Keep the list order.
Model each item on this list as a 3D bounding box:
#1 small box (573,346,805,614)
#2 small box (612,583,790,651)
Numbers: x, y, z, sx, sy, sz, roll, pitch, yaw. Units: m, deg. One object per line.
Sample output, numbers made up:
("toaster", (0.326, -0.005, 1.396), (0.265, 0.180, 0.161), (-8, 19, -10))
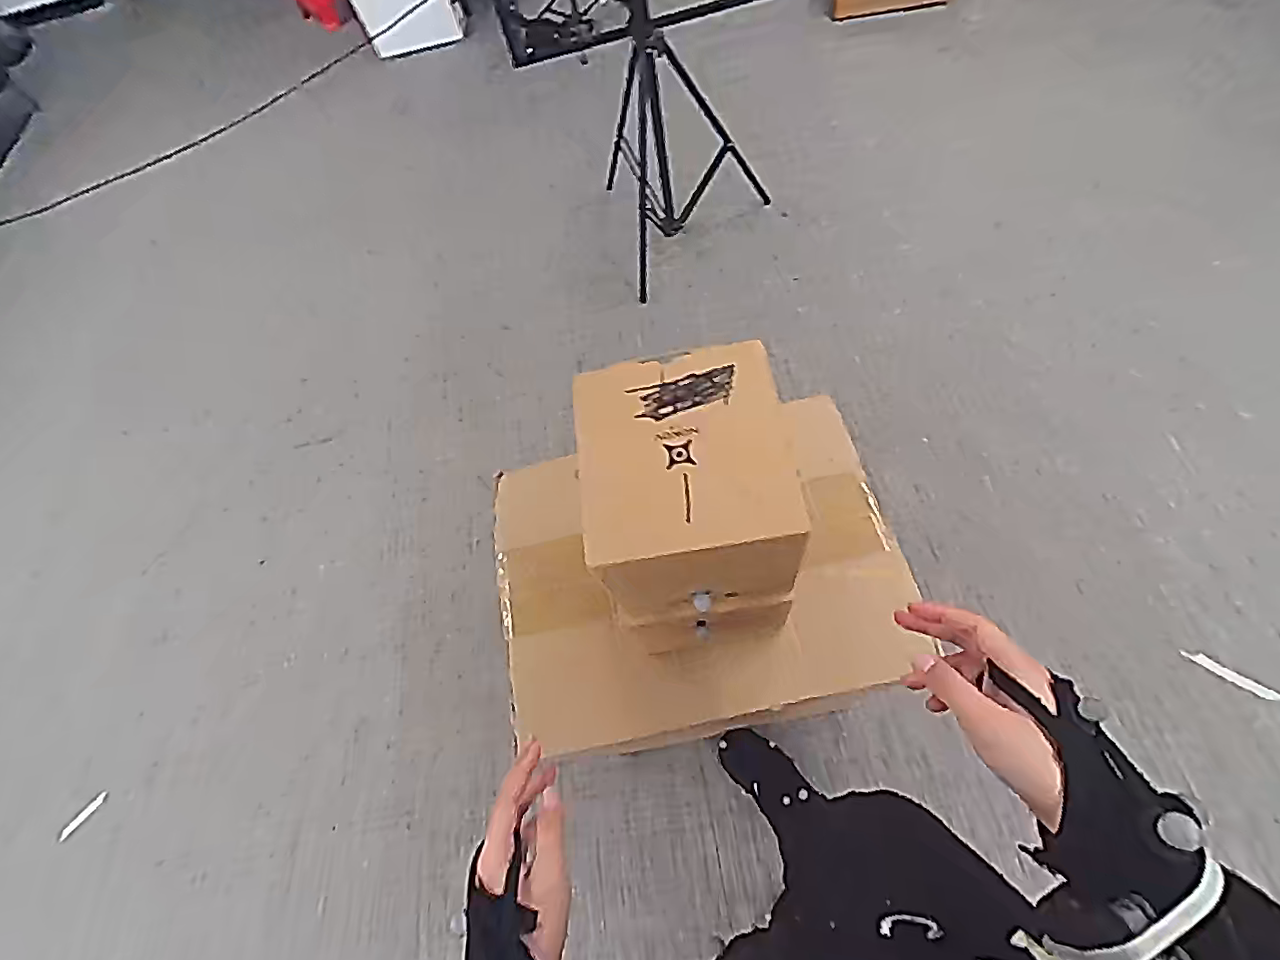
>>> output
("small box", (0.041, 0.010, 0.495), (0.168, 0.176, 0.179), (-10, 63, 6))
("small box", (0.064, 0.096, 0.635), (0.179, 0.176, 0.168), (-10, 63, 6))
